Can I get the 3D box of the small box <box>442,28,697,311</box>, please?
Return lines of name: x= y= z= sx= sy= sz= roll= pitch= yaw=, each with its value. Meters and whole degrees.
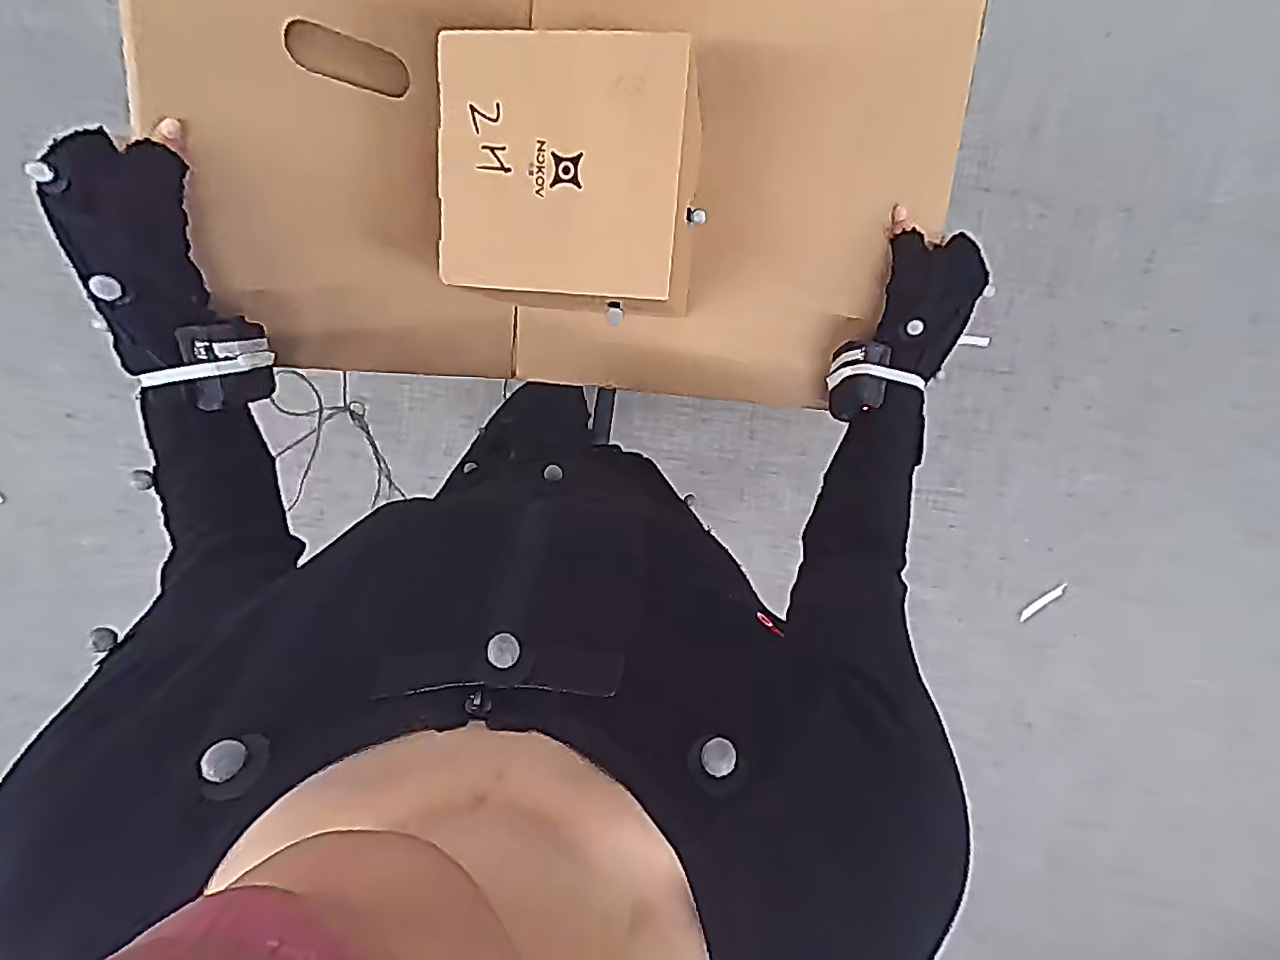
small box: x=-0.047 y=-0.241 z=0.462 sx=0.179 sy=0.176 sz=0.168 roll=7 pitch=103 yaw=7
